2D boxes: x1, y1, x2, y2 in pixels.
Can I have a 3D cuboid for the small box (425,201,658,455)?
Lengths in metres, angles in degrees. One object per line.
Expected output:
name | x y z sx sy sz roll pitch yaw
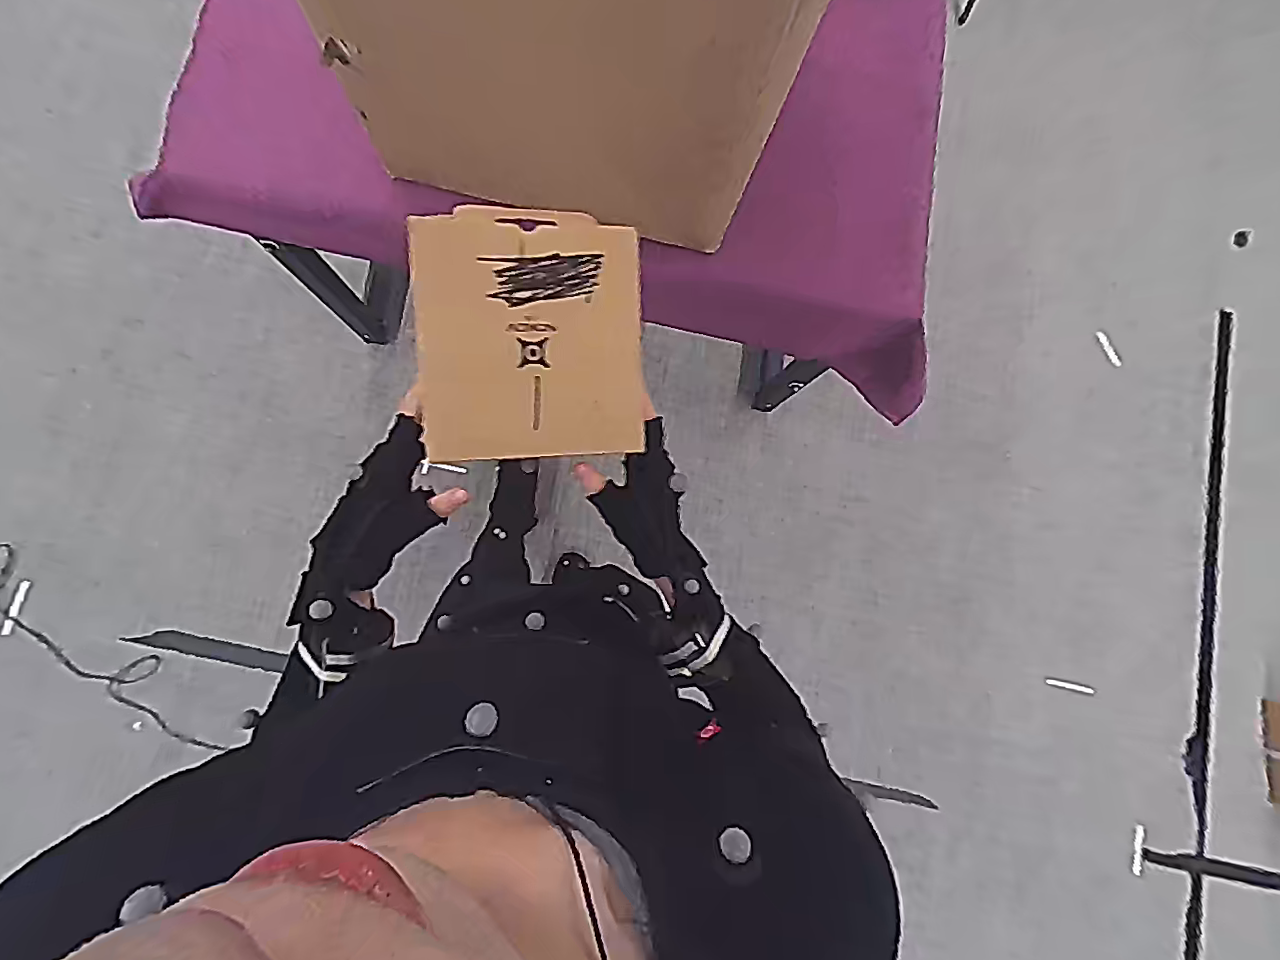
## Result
small box | -0.087 -0.112 0.470 0.168 0.176 0.179 -3 94 -13
